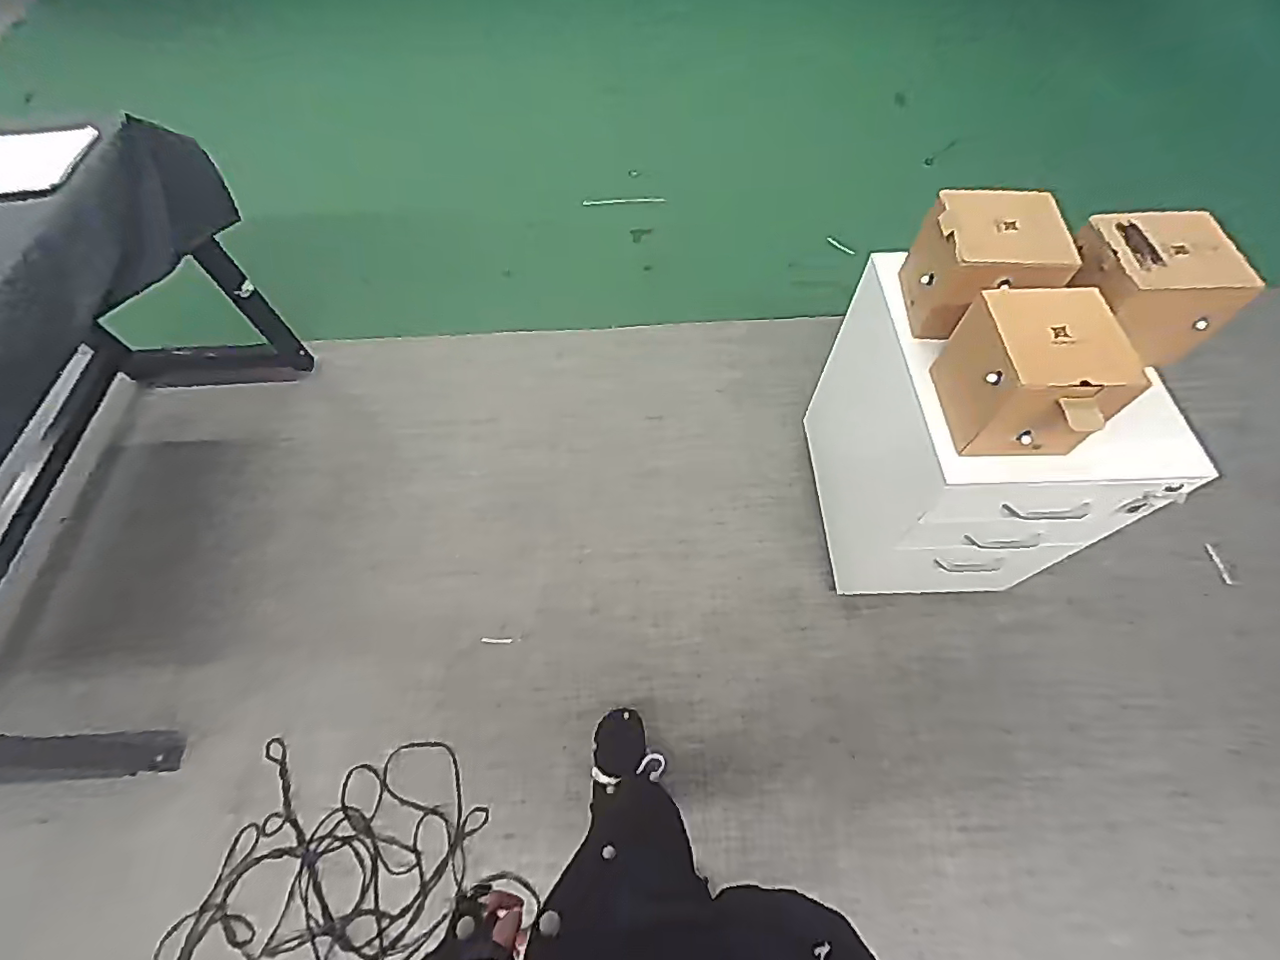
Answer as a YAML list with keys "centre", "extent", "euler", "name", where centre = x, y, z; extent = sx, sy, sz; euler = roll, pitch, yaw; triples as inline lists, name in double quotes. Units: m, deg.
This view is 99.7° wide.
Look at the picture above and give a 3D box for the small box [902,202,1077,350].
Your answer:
- centre: [0.559, -0.333, 0.900]
  extent: [0.179, 0.176, 0.168]
  euler: [3, 62, 2]
  name: "small box"
